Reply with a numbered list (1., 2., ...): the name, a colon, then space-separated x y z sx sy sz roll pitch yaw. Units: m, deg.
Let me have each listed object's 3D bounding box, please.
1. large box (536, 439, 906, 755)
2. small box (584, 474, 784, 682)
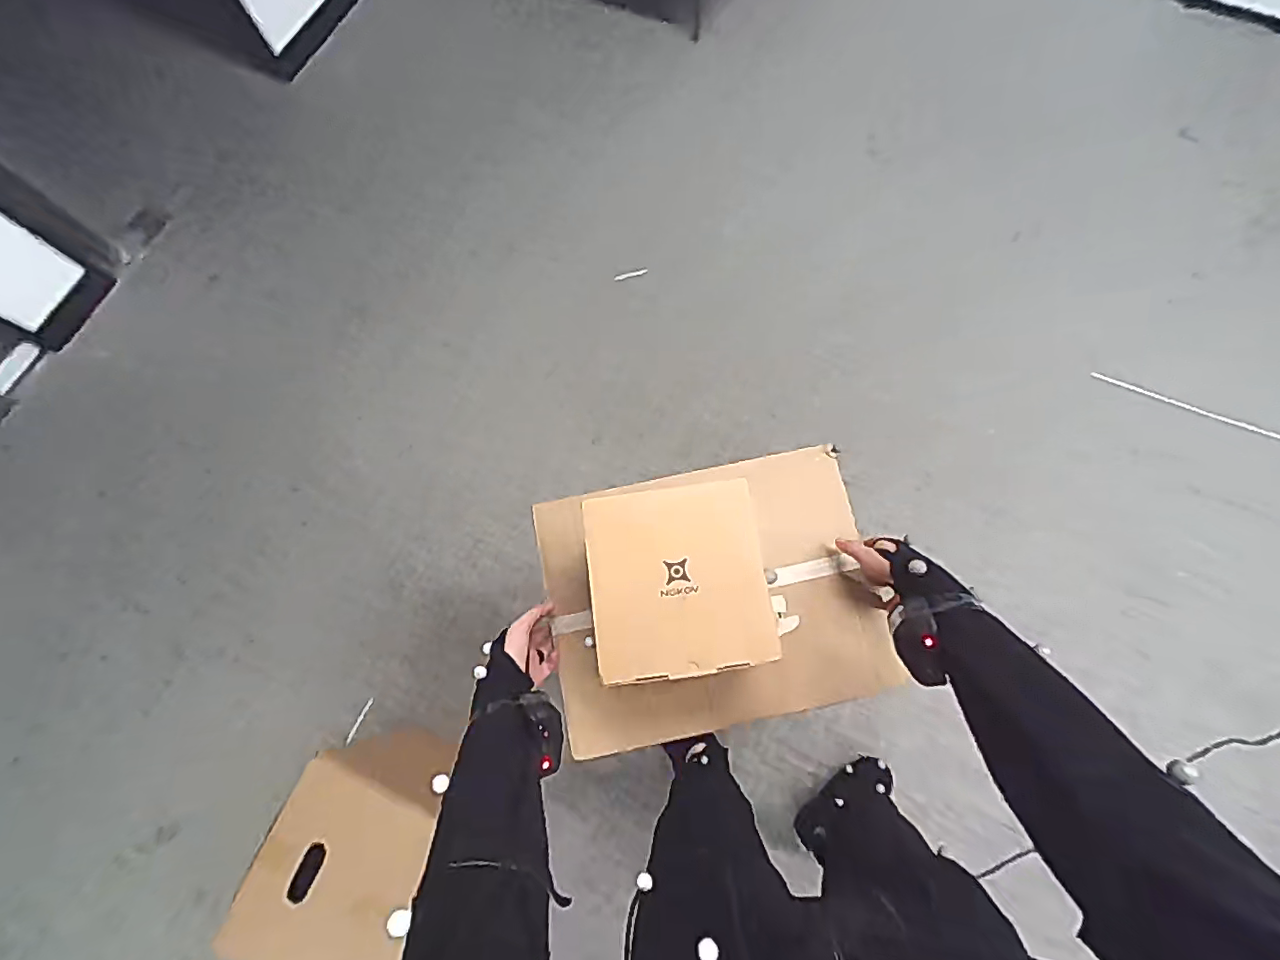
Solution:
1. large box: 0.091 0.171 0.807 0.408 0.320 0.320 -12 76 -2
2. small box: 0.037 0.108 0.572 0.168 0.176 0.179 -8 74 0
